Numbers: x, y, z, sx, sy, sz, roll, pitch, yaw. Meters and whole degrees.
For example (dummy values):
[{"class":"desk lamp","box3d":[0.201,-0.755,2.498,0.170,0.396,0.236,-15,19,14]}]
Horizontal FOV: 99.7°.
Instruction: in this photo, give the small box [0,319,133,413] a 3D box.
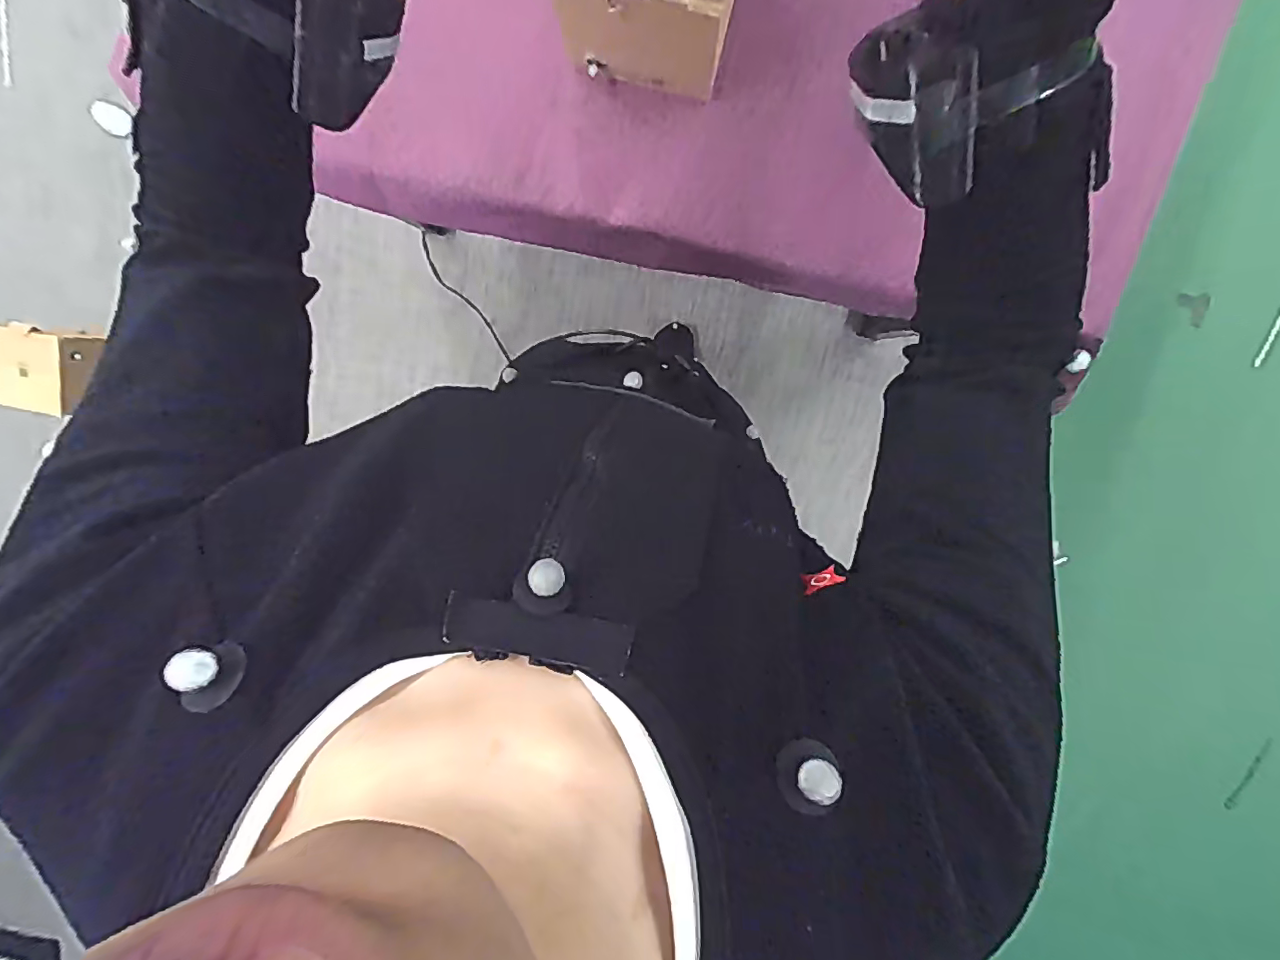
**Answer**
[{"class":"small box","box3d":[-1.317,-0.261,1.238,0.168,0.176,0.179,11,102,0]}]

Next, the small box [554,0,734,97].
[{"class":"small box","box3d":[0.017,-0.524,0.534,0.168,0.176,0.179,14,102,0]}]
